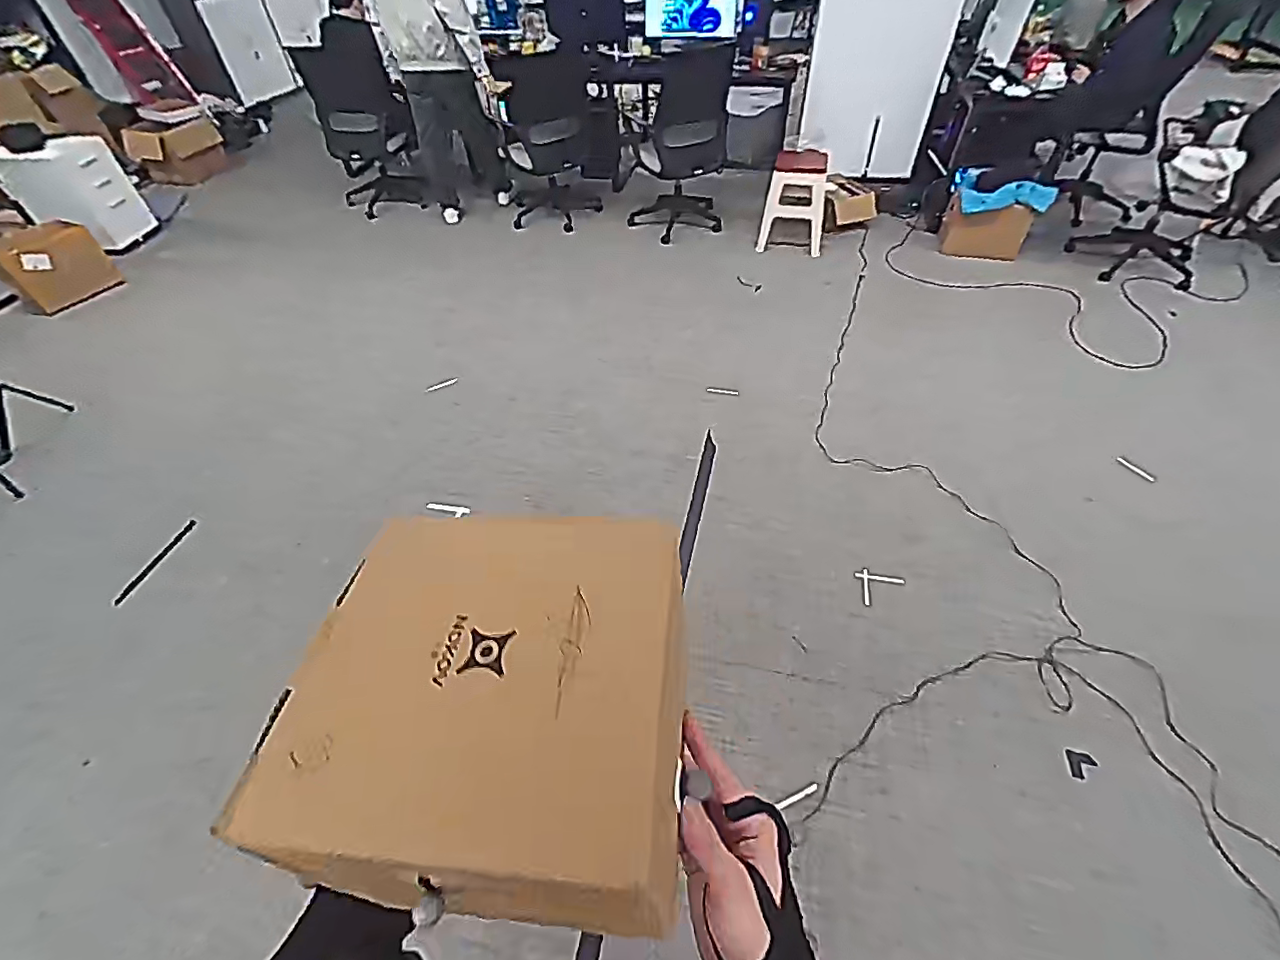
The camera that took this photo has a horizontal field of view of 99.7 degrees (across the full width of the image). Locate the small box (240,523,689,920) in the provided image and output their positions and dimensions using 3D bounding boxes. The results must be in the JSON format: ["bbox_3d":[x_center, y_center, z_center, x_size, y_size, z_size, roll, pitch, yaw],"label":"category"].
[{"bbox_3d":[-0.066,0.142,0.322,0.179,0.176,0.168,-1,45,8],"label":"small box"}]
